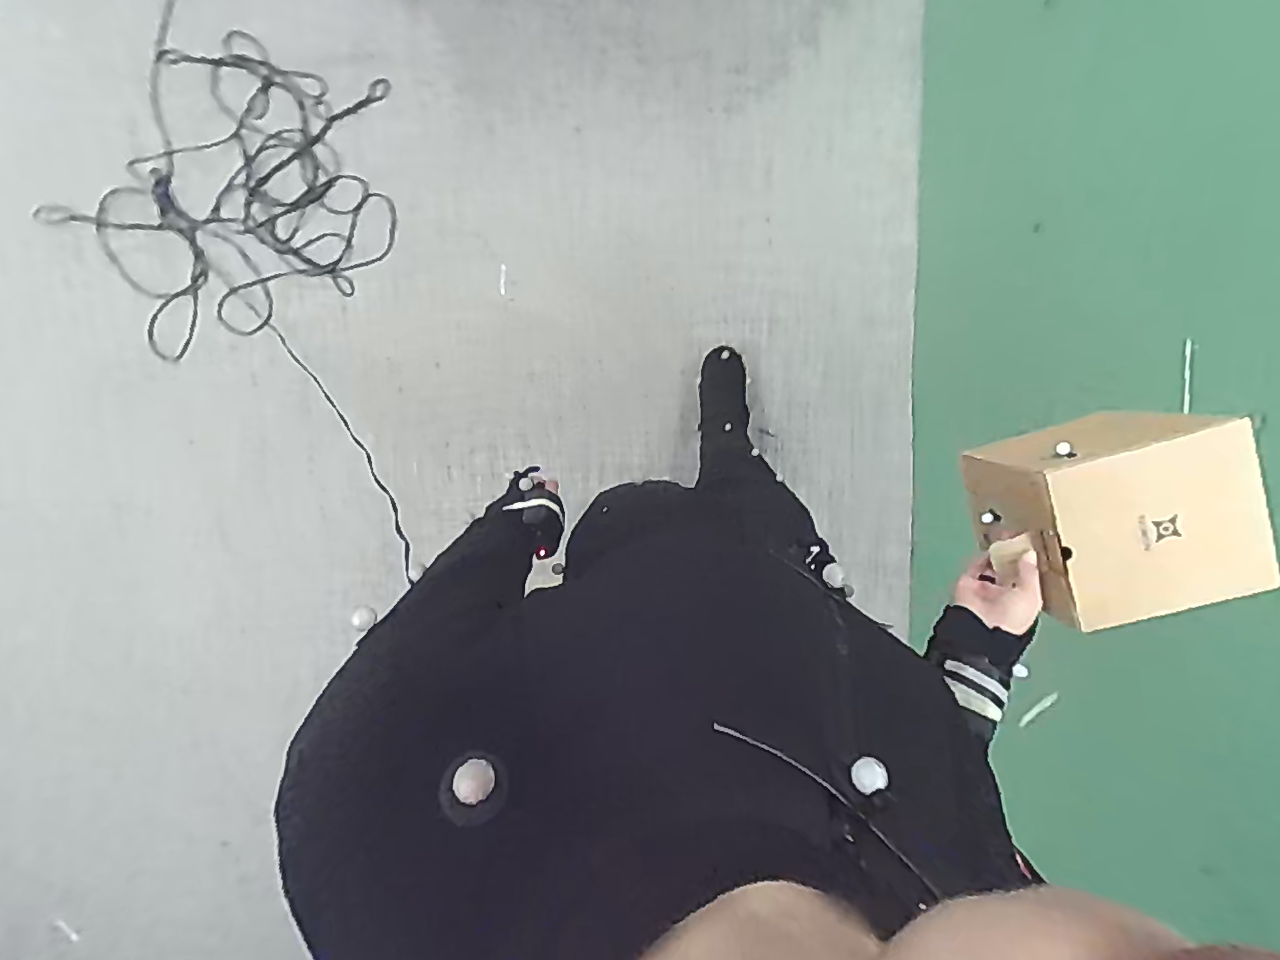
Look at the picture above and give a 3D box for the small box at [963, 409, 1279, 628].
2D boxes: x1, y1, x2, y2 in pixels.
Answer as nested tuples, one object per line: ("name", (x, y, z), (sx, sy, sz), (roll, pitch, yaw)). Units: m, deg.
("small box", (0.487, 0.028, 0.573), (0.179, 0.176, 0.168), (-18, 96, 9))
